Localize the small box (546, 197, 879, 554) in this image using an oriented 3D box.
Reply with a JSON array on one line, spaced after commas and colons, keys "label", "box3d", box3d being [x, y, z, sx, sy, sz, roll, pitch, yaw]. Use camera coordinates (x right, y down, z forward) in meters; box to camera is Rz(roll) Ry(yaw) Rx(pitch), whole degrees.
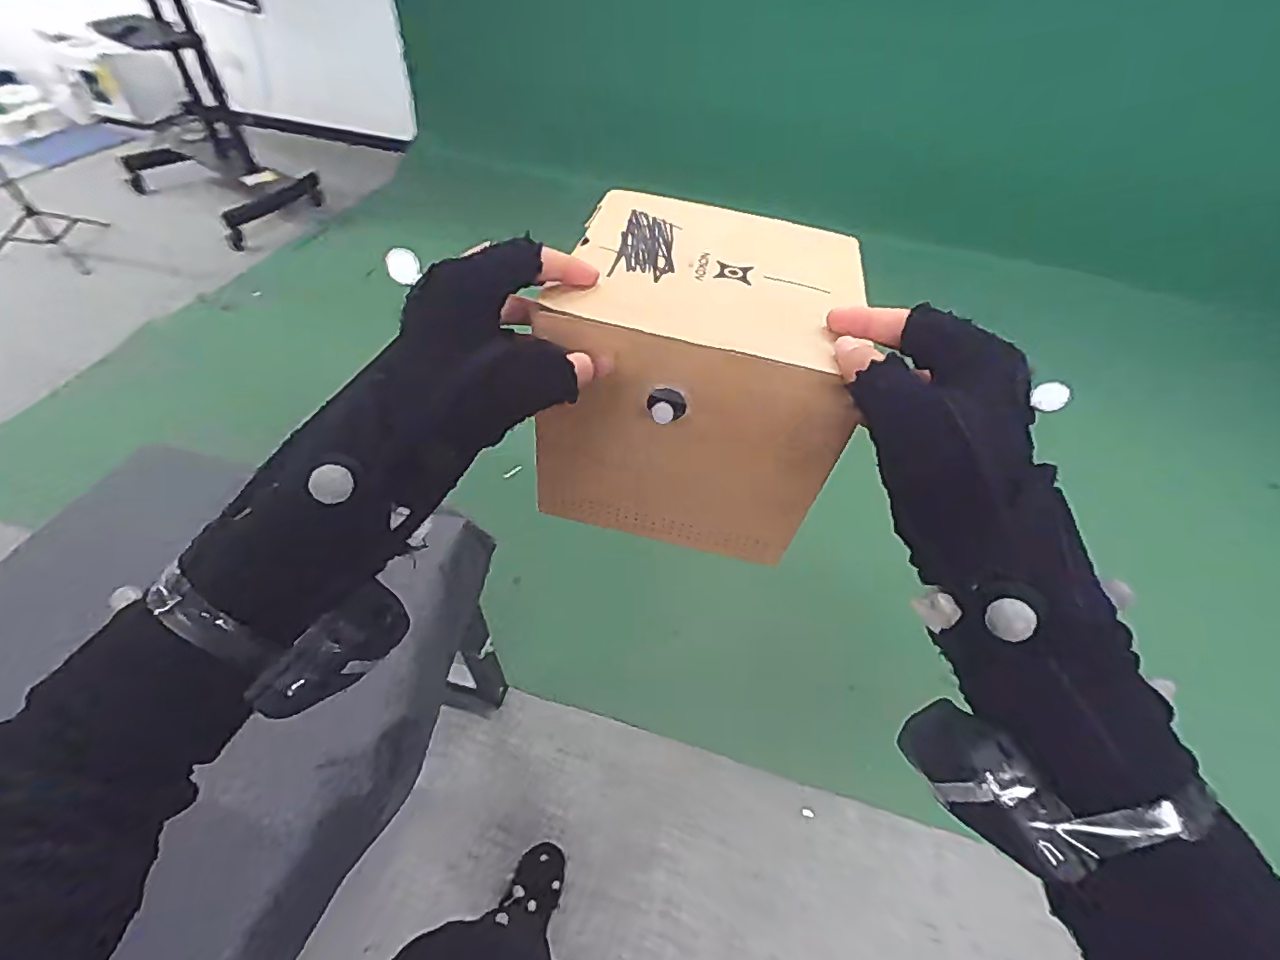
[{"label": "small box", "box3d": [0.042, -0.069, 0.383, 0.179, 0.176, 0.168, 14, 49, 3]}]
